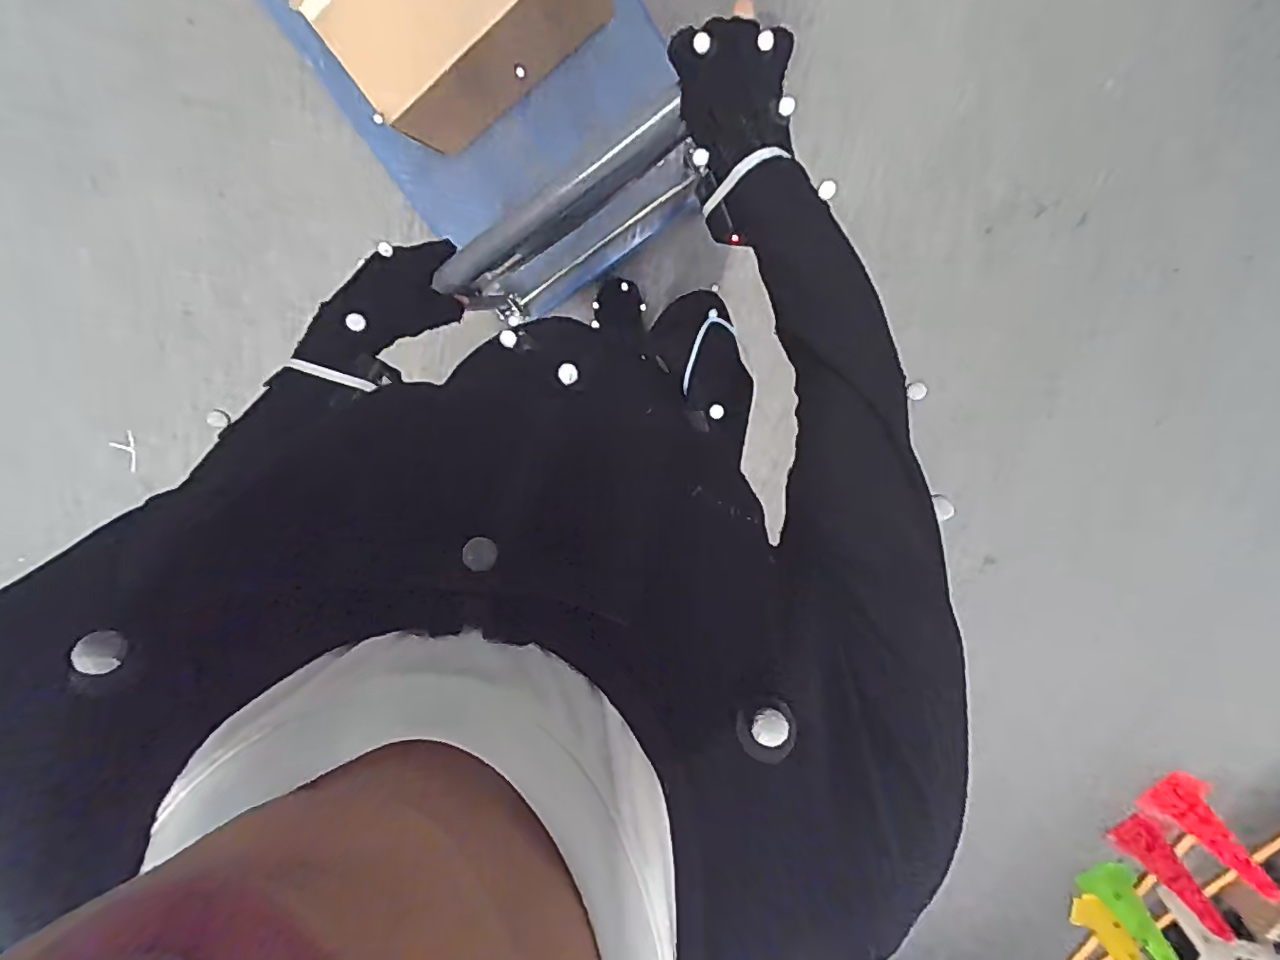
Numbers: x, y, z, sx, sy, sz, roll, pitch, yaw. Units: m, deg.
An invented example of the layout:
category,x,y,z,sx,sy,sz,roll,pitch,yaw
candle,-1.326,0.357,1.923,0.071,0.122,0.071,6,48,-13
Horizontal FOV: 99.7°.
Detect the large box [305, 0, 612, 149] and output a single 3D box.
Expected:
category,x,y,z,sx,sy,sz,roll,pitch,yaw
large box,-0.289,-0.812,0.843,0.408,0.320,0.320,-34,109,13
